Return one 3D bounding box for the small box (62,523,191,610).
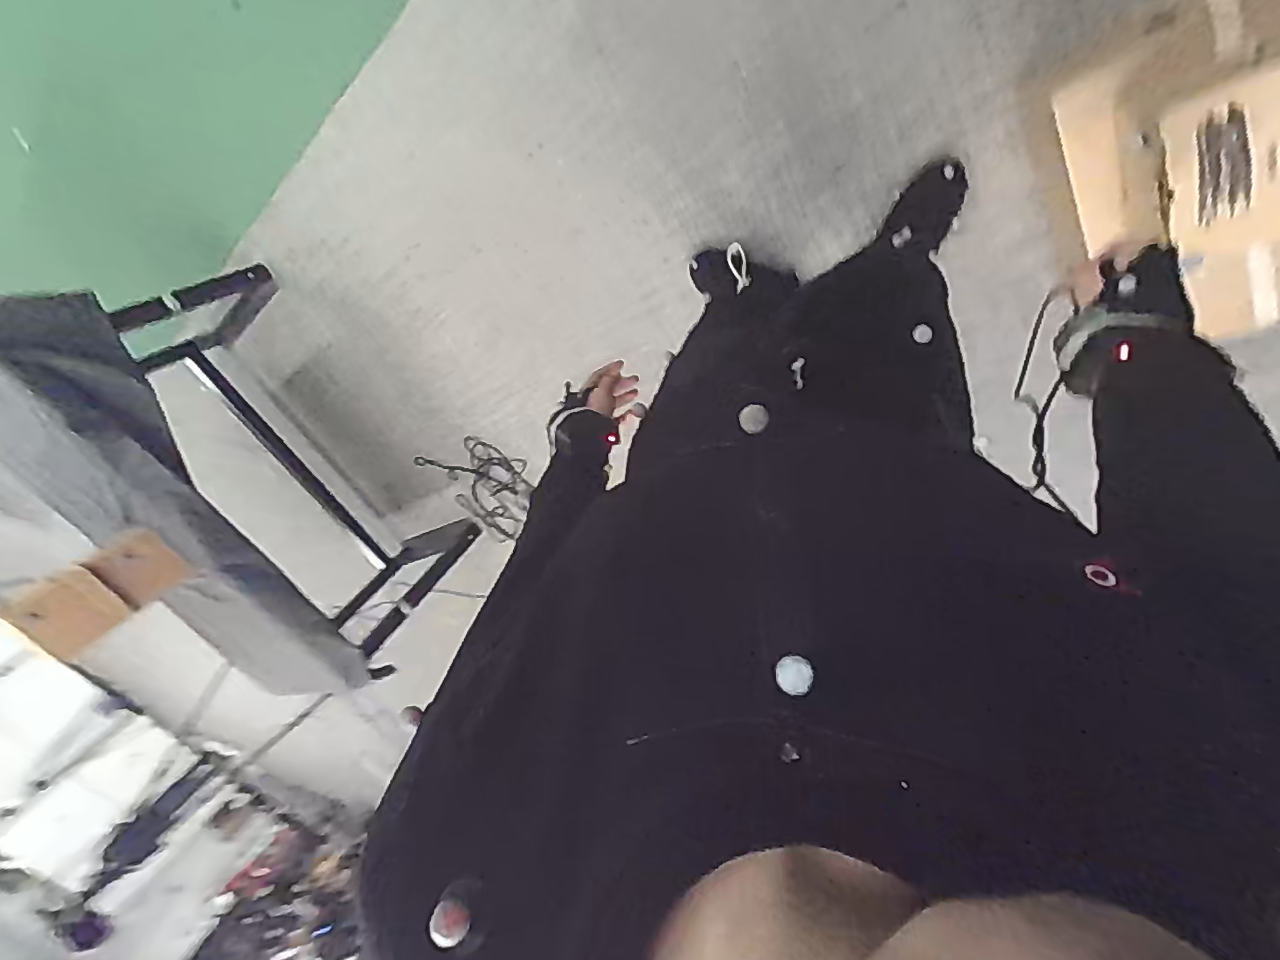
[{"bbox_3d":[-1.378,0.230,1.453,0.168,0.176,0.179,-9,121,33],"label":"small box"}]

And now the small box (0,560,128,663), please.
[{"bbox_3d":[-1.423,0.317,1.321,0.168,0.176,0.179,-7,121,32],"label":"small box"}]

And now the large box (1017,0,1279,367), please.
[{"bbox_3d":[0.788,-0.446,0.765,0.320,0.320,0.408,-18,117,36],"label":"large box"}]
